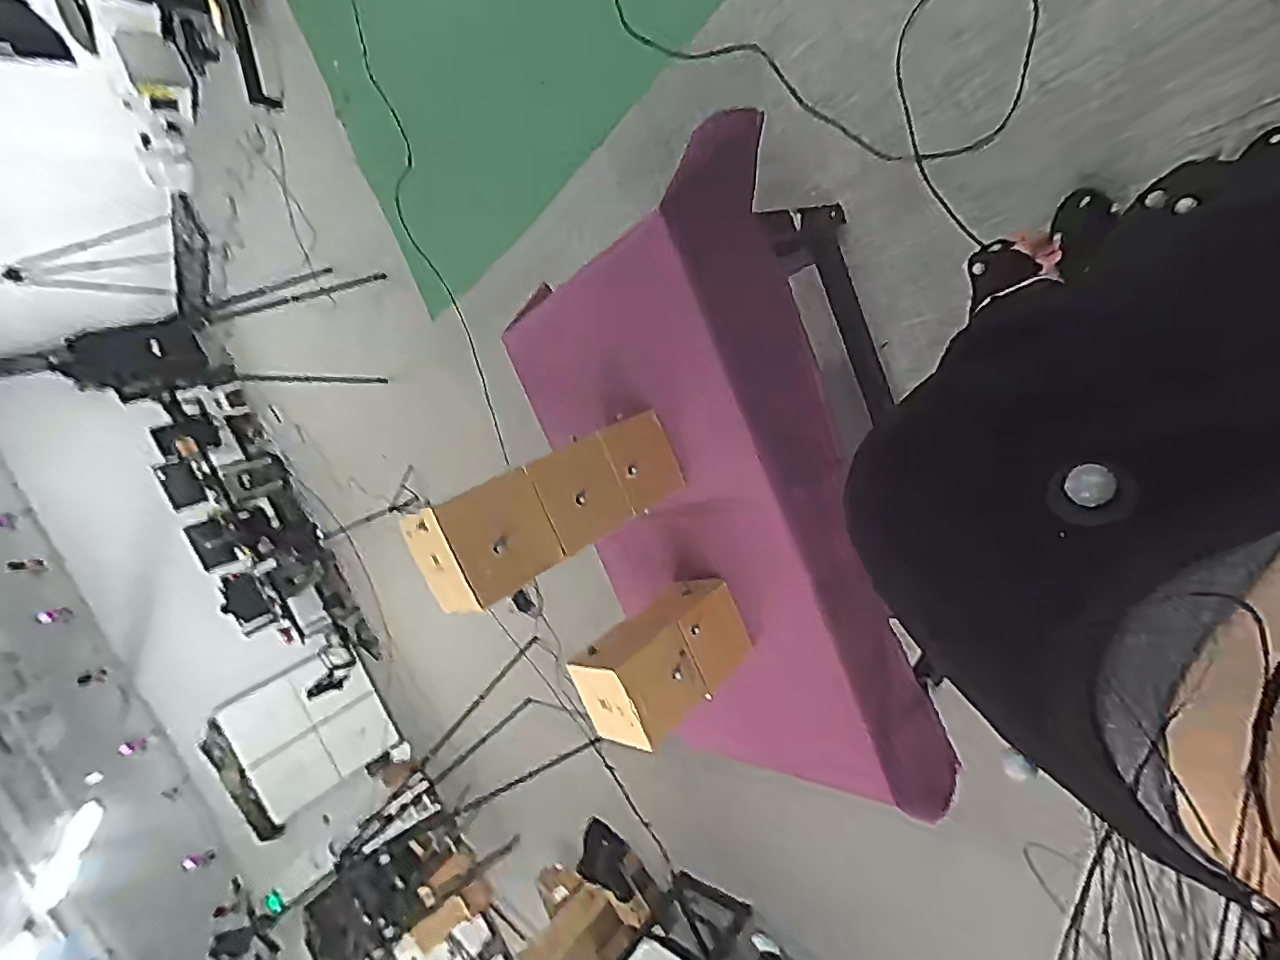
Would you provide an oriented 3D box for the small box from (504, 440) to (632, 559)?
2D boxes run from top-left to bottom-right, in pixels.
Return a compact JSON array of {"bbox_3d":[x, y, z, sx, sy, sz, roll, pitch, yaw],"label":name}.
[{"bbox_3d":[-0.146,0.037,1.010,0.168,0.176,0.179,-16,100,49],"label":"small box"}]

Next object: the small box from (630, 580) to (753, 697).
[{"bbox_3d":[0.115,0.335,1.164,0.168,0.176,0.179,-18,97,50],"label":"small box"}]

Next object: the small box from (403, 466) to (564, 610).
[{"bbox_3d":[-0.258,0.099,0.906,0.168,0.176,0.179,-18,99,48],"label":"small box"}]

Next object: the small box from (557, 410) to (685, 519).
[{"bbox_3d":[-0.035,-0.024,1.114,0.168,0.176,0.179,-15,100,49],"label":"small box"}]

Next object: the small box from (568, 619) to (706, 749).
[{"bbox_3d":[-0.004,0.387,1.061,0.179,0.176,0.168,-18,98,50],"label":"small box"}]
